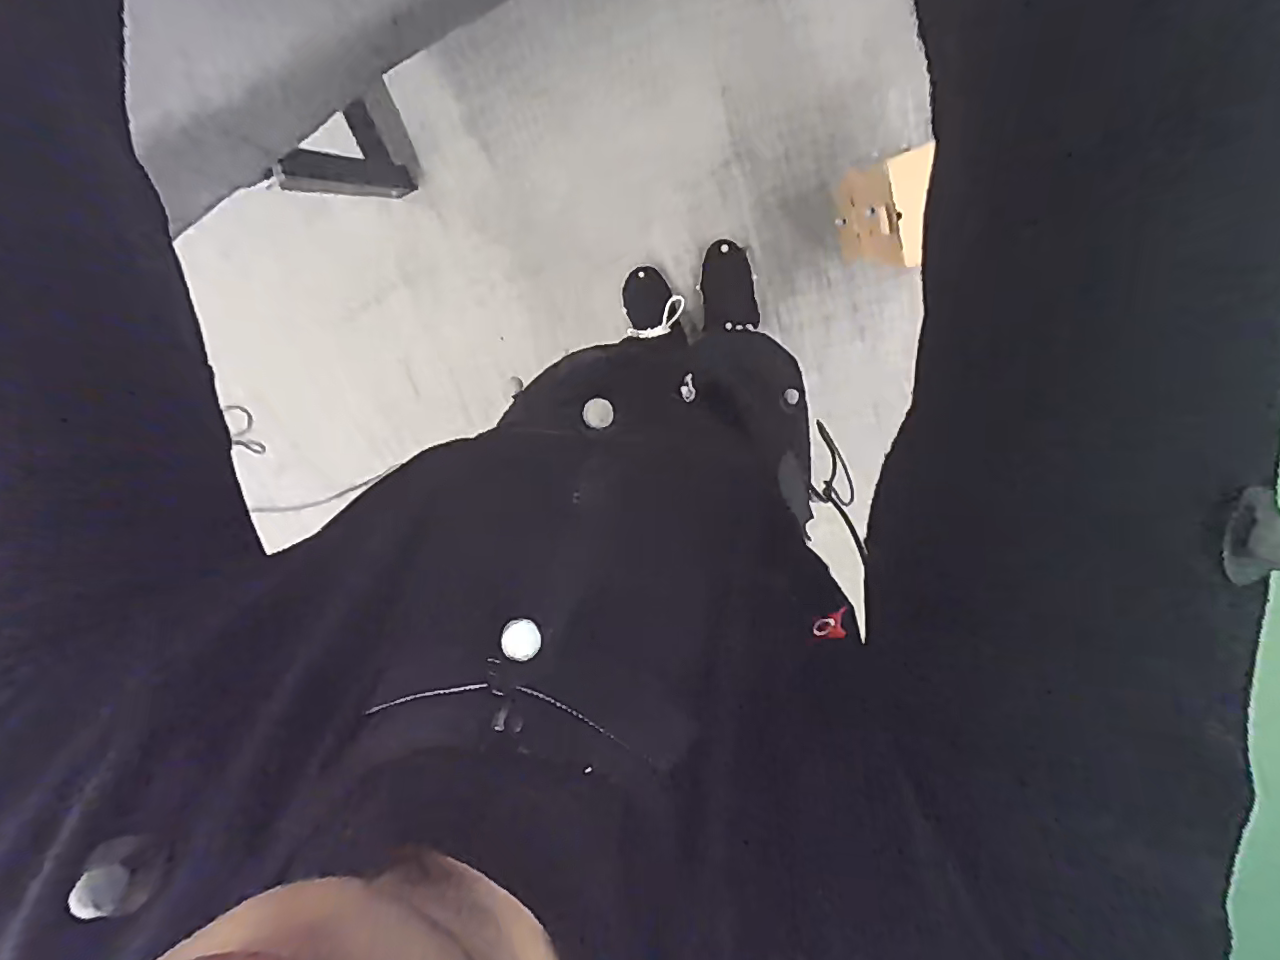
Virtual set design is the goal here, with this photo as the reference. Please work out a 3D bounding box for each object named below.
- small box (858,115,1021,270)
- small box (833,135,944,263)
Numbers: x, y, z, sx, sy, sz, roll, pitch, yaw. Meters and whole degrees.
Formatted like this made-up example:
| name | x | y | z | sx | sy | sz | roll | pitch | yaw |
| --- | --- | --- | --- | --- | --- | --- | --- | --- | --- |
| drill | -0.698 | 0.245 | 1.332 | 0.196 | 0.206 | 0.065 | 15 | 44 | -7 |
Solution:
| name | x | y | z | sx | sy | sz | roll | pitch | yaw |
| --- | --- | --- | --- | --- | --- | --- | --- | --- | --- |
| small box | 0.487 | -0.468 | 0.898 | 0.179 | 0.176 | 0.168 | -18 | 112 | 14 |
| small box | 0.486 | -0.533 | 1.050 | 0.179 | 0.176 | 0.168 | -17 | 111 | 14 |
